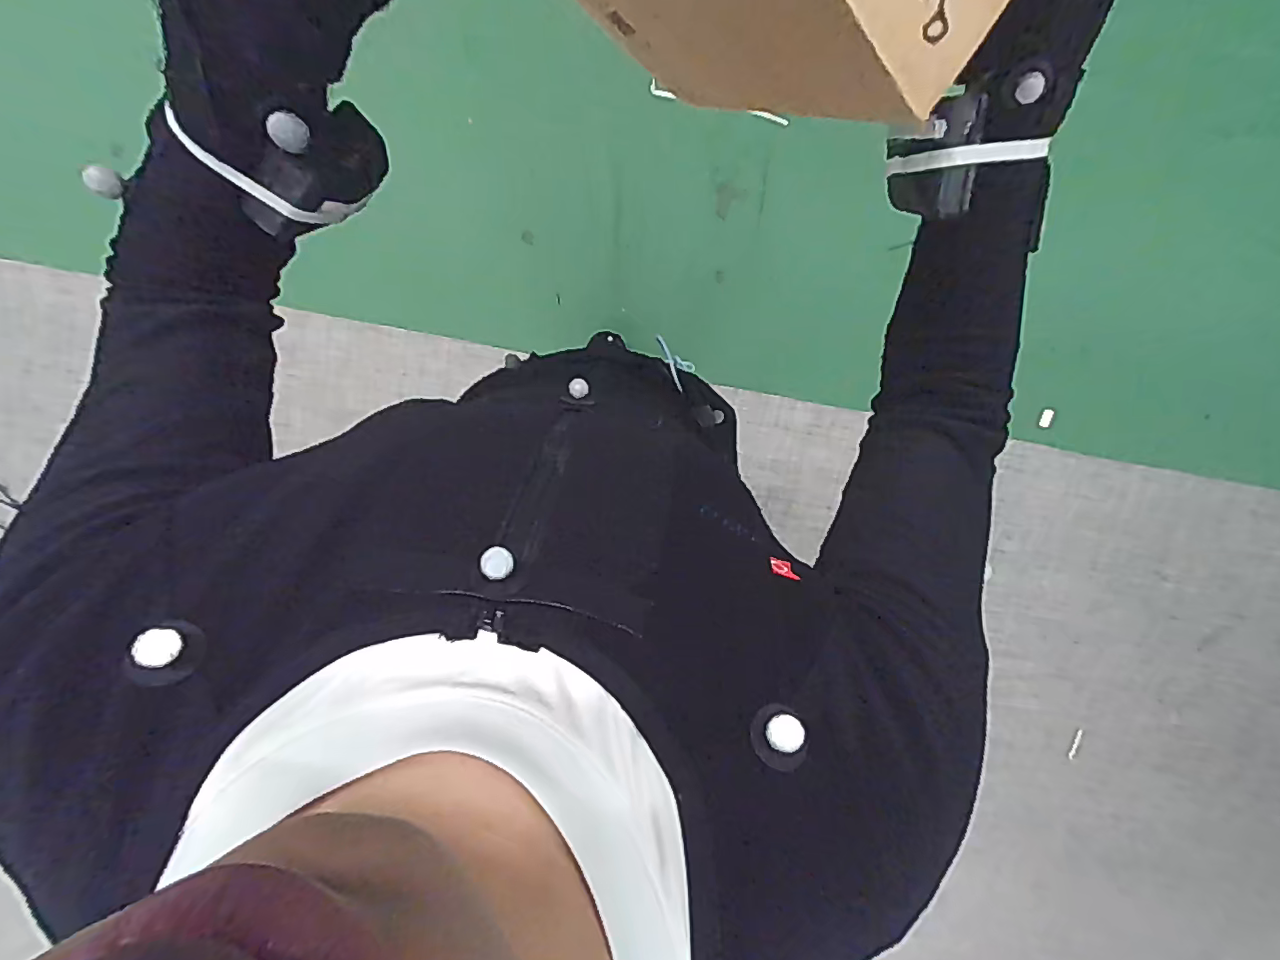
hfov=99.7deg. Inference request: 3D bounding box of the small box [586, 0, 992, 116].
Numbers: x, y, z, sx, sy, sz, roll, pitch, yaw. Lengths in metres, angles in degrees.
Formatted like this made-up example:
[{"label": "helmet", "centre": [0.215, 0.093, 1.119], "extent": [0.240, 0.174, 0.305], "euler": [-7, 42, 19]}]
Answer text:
[{"label": "small box", "centre": [0.049, -0.268, 0.184], "extent": [0.168, 0.176, 0.179], "euler": [16, 113, -41]}]
